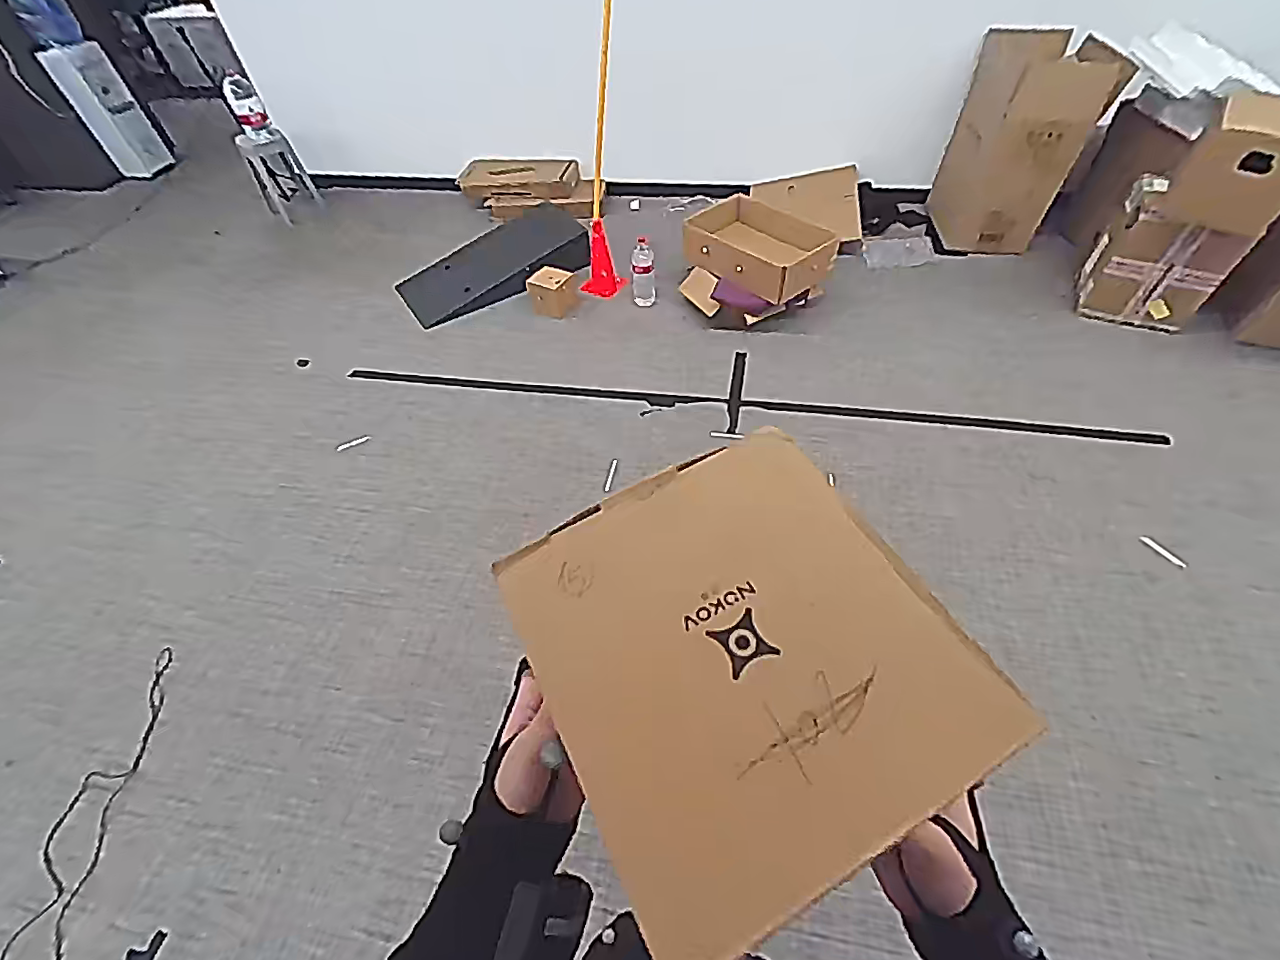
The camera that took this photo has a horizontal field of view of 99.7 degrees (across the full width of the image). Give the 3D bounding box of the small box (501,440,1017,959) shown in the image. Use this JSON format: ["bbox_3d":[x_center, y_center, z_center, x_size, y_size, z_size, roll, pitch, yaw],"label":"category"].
[{"bbox_3d":[0.046,0.116,0.309,0.168,0.176,0.179,-28,60,-13],"label":"small box"}]
